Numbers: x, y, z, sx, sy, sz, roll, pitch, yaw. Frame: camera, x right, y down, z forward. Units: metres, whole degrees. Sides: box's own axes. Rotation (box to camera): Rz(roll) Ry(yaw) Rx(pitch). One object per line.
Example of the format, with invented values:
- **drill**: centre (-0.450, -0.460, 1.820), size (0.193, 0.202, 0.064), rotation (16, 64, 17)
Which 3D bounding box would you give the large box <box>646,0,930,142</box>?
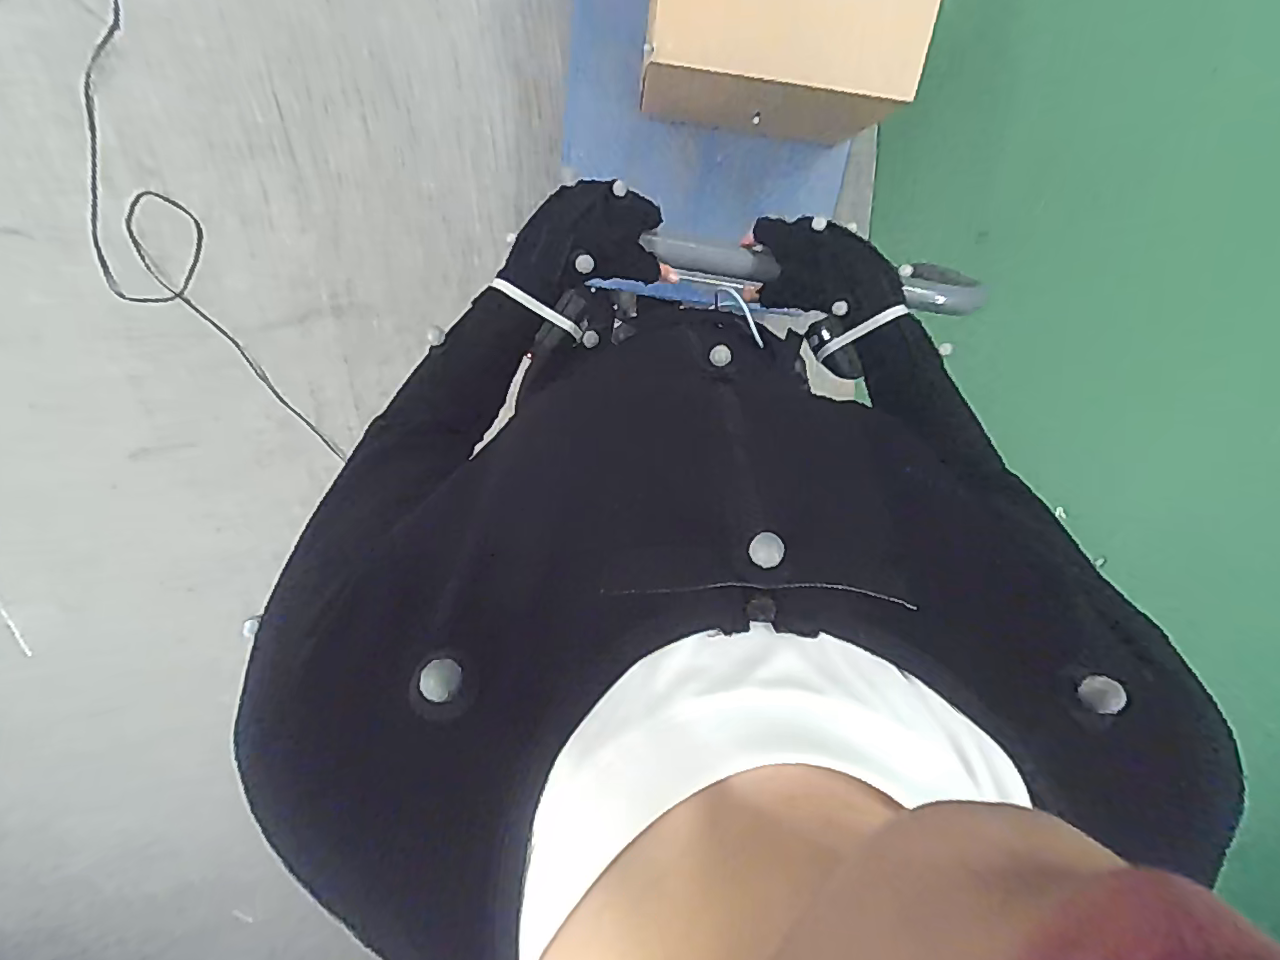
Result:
- **large box**: centre (0.226, -0.787, 0.905), size (0.408, 0.320, 0.320), rotation (5, 110, -3)
